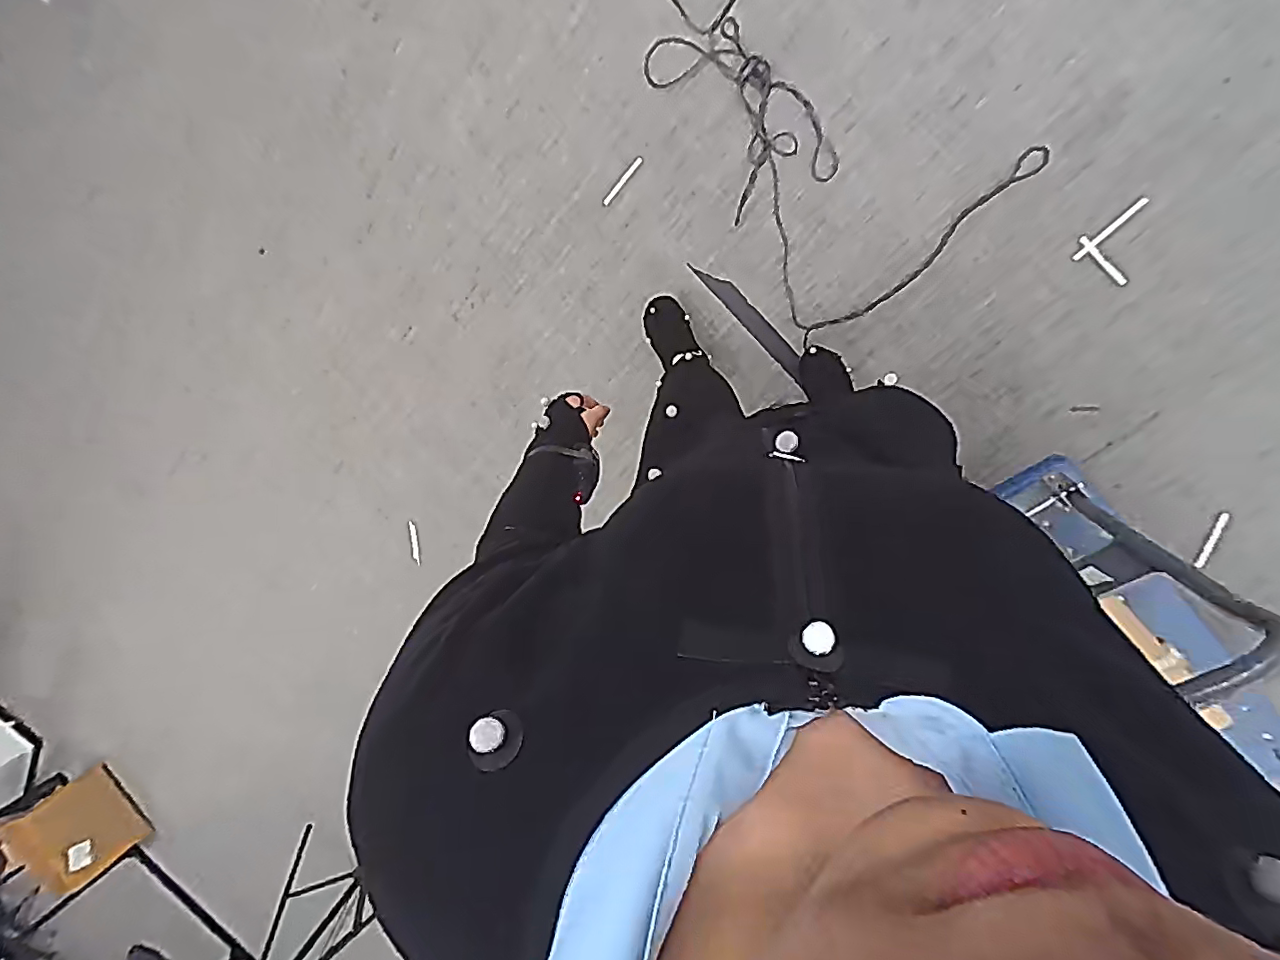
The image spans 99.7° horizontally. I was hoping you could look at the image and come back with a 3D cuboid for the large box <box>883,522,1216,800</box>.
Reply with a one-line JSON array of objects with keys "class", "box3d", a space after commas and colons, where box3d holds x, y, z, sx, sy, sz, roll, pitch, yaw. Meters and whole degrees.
[{"class": "large box", "box3d": [0.793, 0.362, 1.131, 0.320, 0.320, 0.408, 46, 114, 0]}]
